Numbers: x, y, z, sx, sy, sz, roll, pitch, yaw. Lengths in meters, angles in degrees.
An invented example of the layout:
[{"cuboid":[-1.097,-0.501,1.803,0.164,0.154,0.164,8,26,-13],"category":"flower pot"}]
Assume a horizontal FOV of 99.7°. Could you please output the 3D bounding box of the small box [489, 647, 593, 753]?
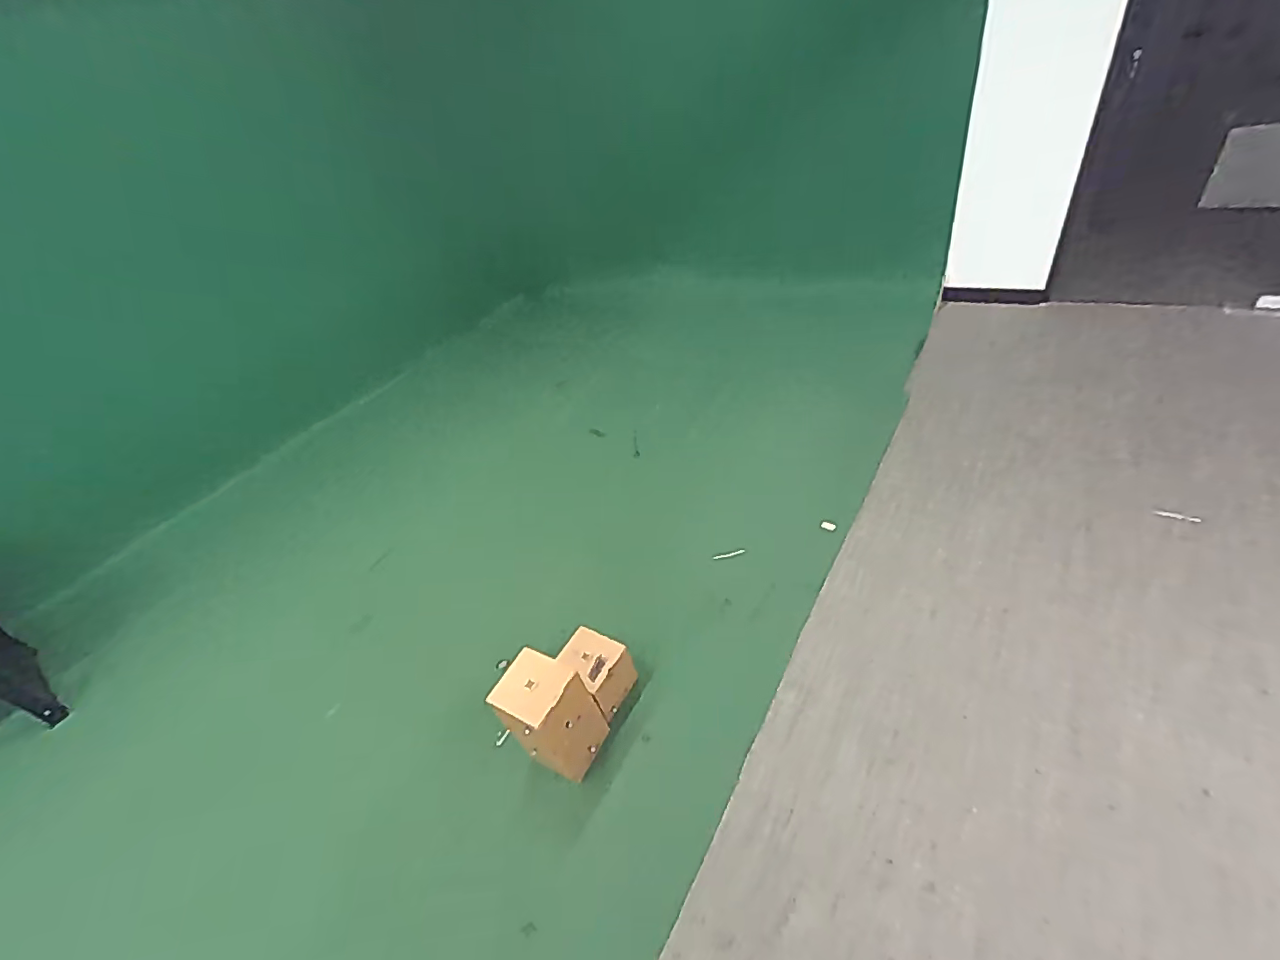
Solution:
[{"cuboid":[-0.249,0.569,1.396,0.179,0.176,0.168,12,47,29],"category":"small box"}]
